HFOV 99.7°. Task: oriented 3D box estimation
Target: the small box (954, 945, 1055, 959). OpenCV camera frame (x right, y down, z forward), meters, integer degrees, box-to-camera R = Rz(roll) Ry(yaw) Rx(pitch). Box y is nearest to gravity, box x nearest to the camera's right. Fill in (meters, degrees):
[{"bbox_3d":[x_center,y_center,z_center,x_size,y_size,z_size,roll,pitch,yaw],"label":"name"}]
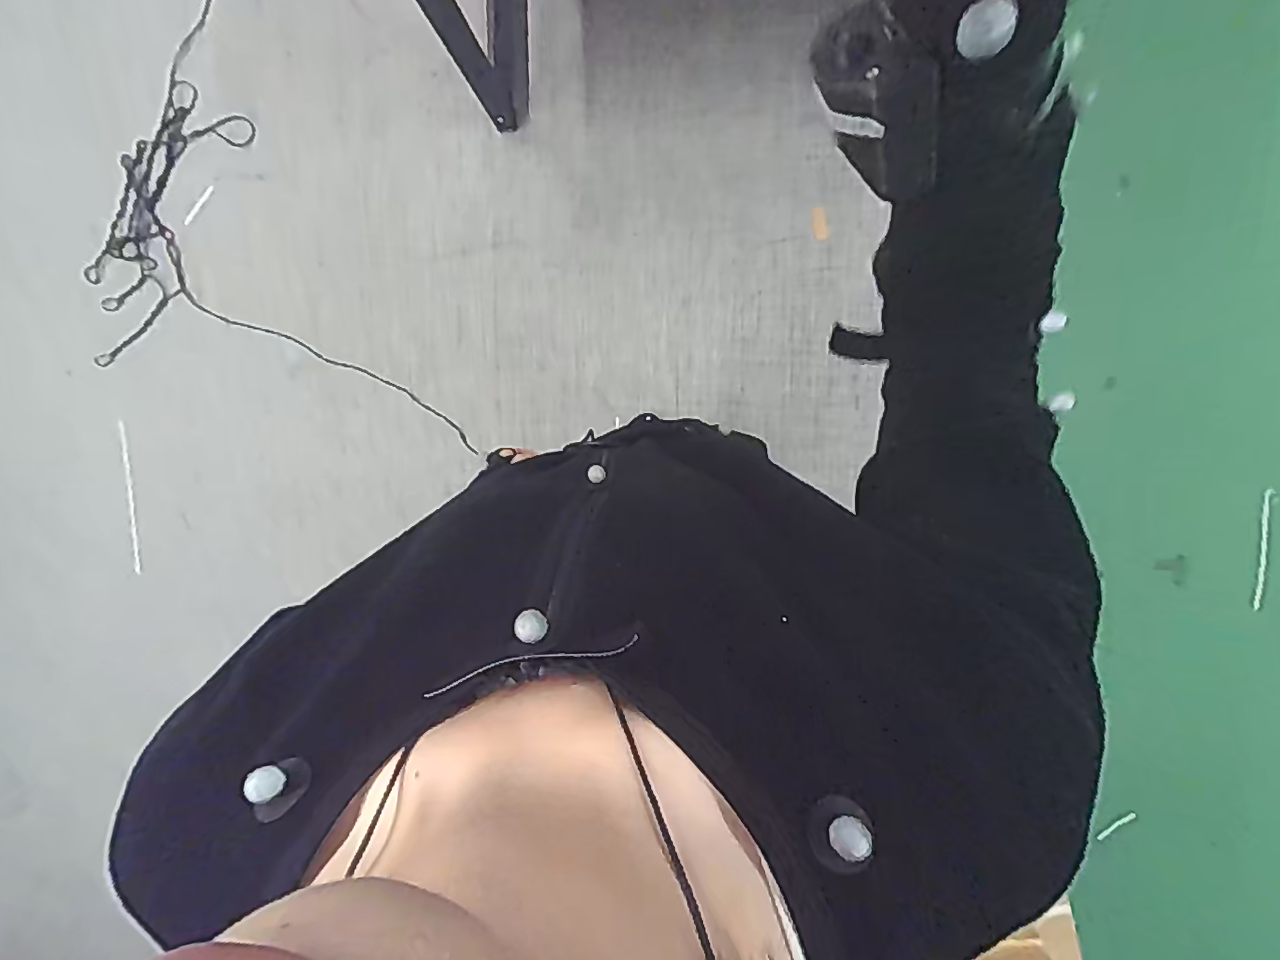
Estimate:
[{"bbox_3d":[0.695,0.979,0.964,0.179,0.176,0.168,-8,93,6],"label":"small box"}]
